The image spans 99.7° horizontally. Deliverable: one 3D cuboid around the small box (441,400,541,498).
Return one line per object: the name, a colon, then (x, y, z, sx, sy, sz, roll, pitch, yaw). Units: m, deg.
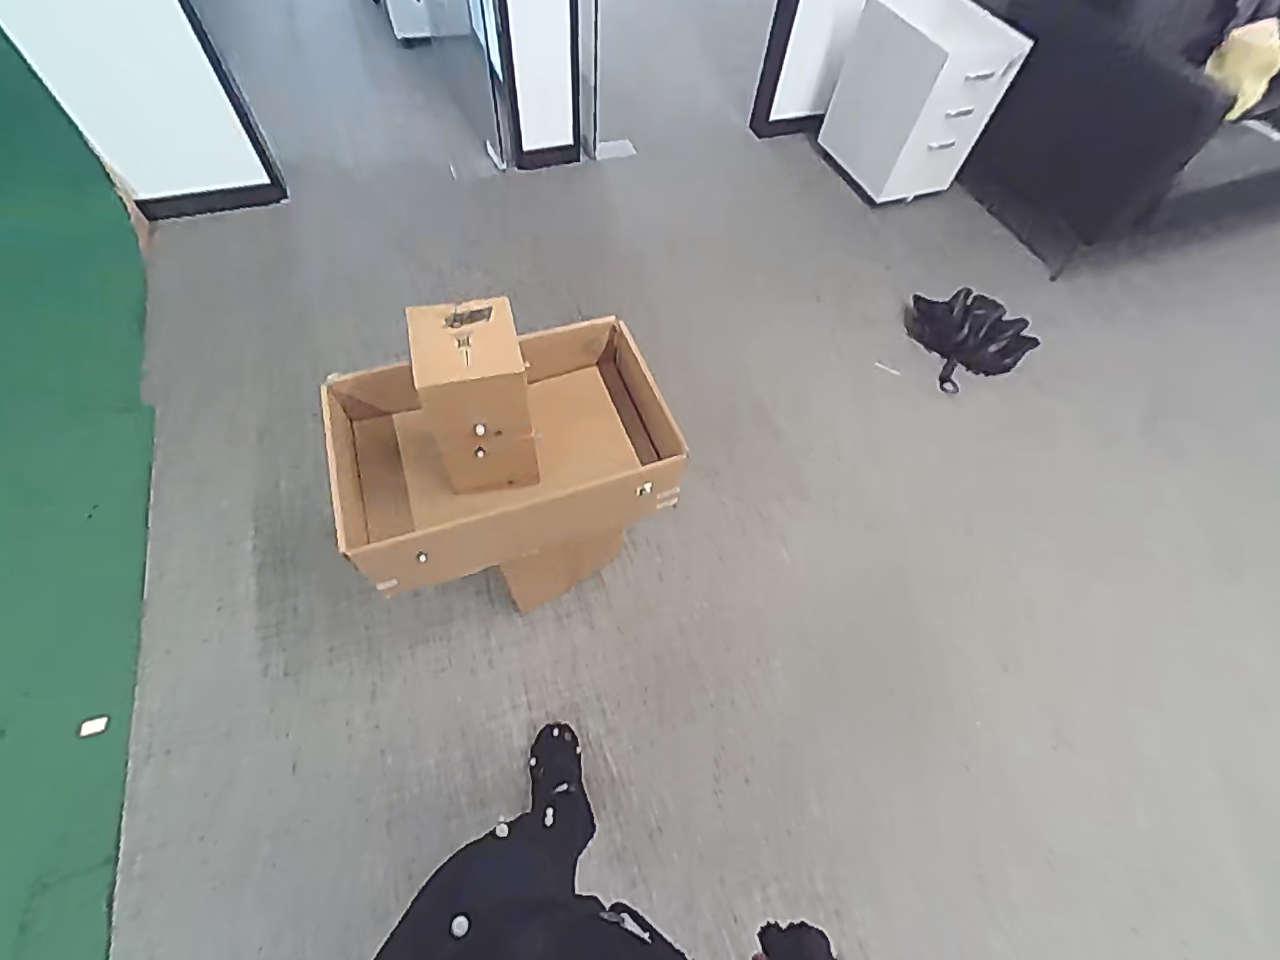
small box: (-0.293, -0.088, 1.072, 0.168, 0.176, 0.179, -10, 59, -10)

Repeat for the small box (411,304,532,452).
small box: (-0.285, -0.174, 0.932, 0.168, 0.176, 0.179, -11, 61, -12)
